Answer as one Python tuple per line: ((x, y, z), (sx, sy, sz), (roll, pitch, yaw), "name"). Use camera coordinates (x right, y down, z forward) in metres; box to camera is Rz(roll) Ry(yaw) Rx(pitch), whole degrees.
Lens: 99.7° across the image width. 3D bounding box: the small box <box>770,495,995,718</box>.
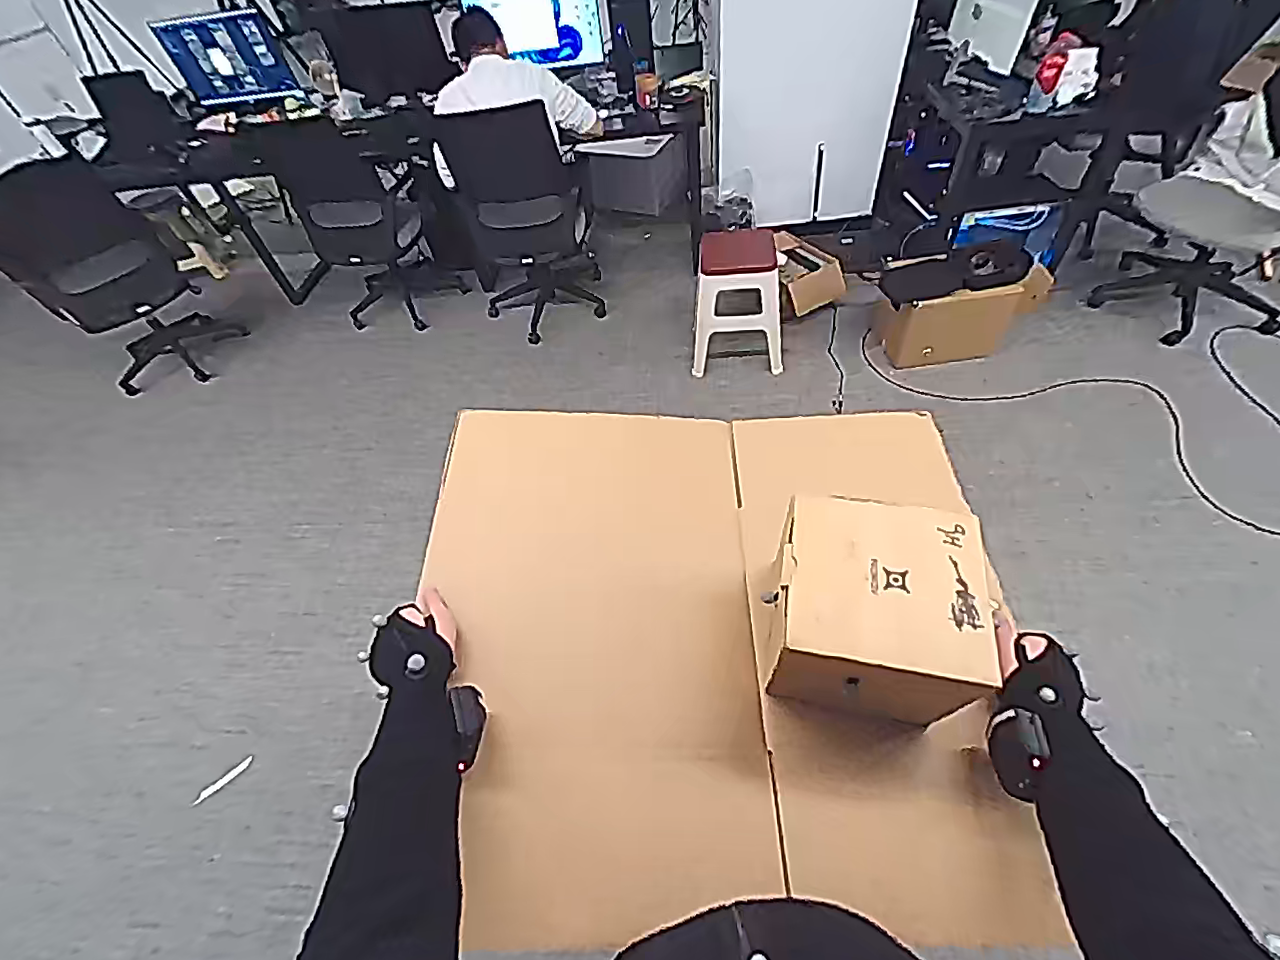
((0.236, 0.137, 0.570), (0.179, 0.176, 0.168), (7, 57, 12), "small box")
